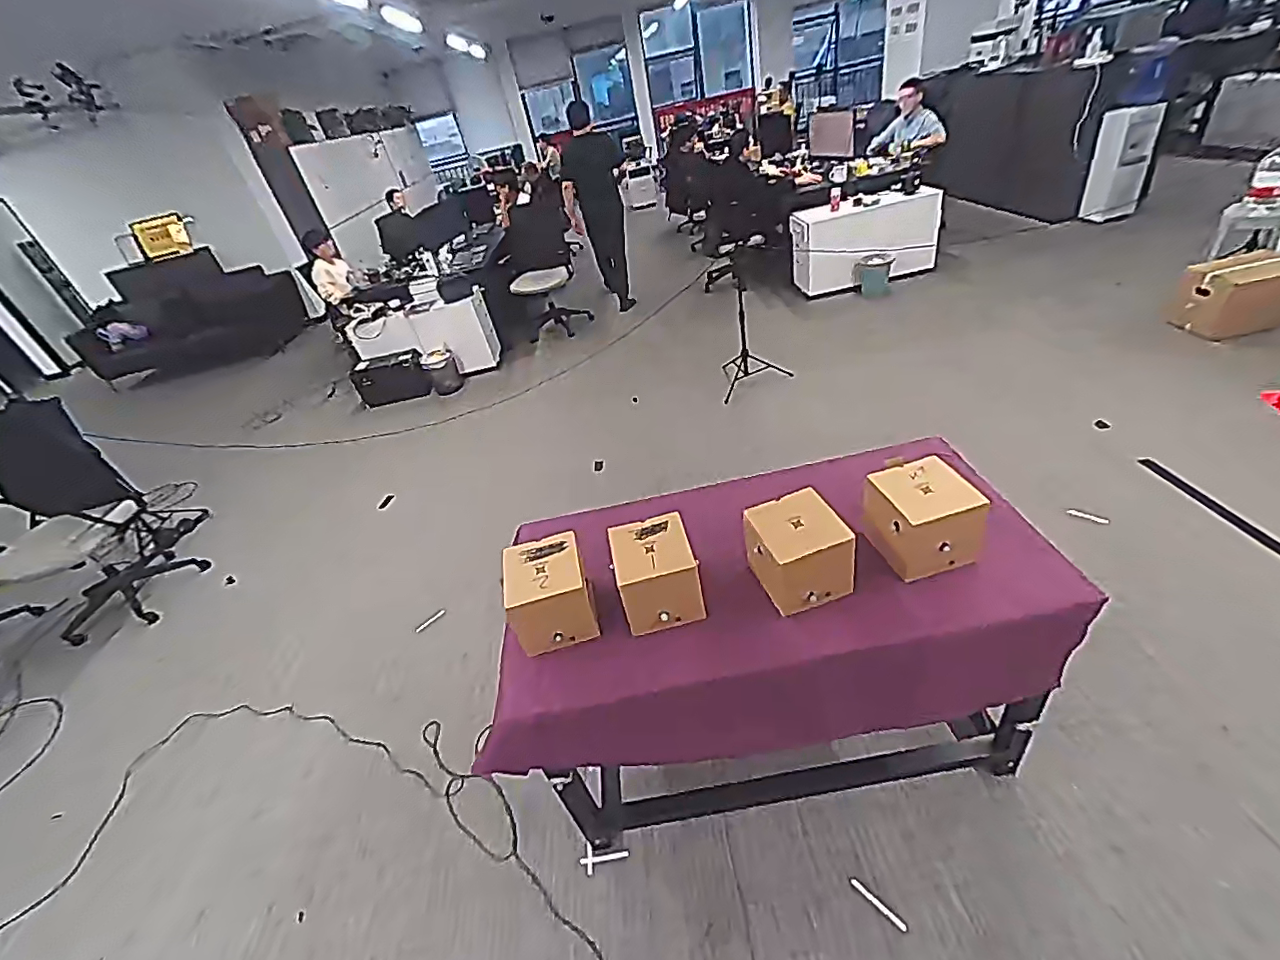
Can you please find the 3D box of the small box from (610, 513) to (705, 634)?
[{"bbox_3d":[0.037,0.204,1.183,0.168,0.176,0.179,-15,36,0],"label":"small box"}]

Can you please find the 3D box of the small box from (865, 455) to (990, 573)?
[{"bbox_3d":[0.603,0.077,1.157,0.168,0.176,0.179,-16,35,-3],"label":"small box"}]

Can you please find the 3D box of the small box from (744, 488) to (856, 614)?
[{"bbox_3d":[0.337,0.151,1.153,0.168,0.176,0.179,-19,36,-5],"label":"small box"}]
